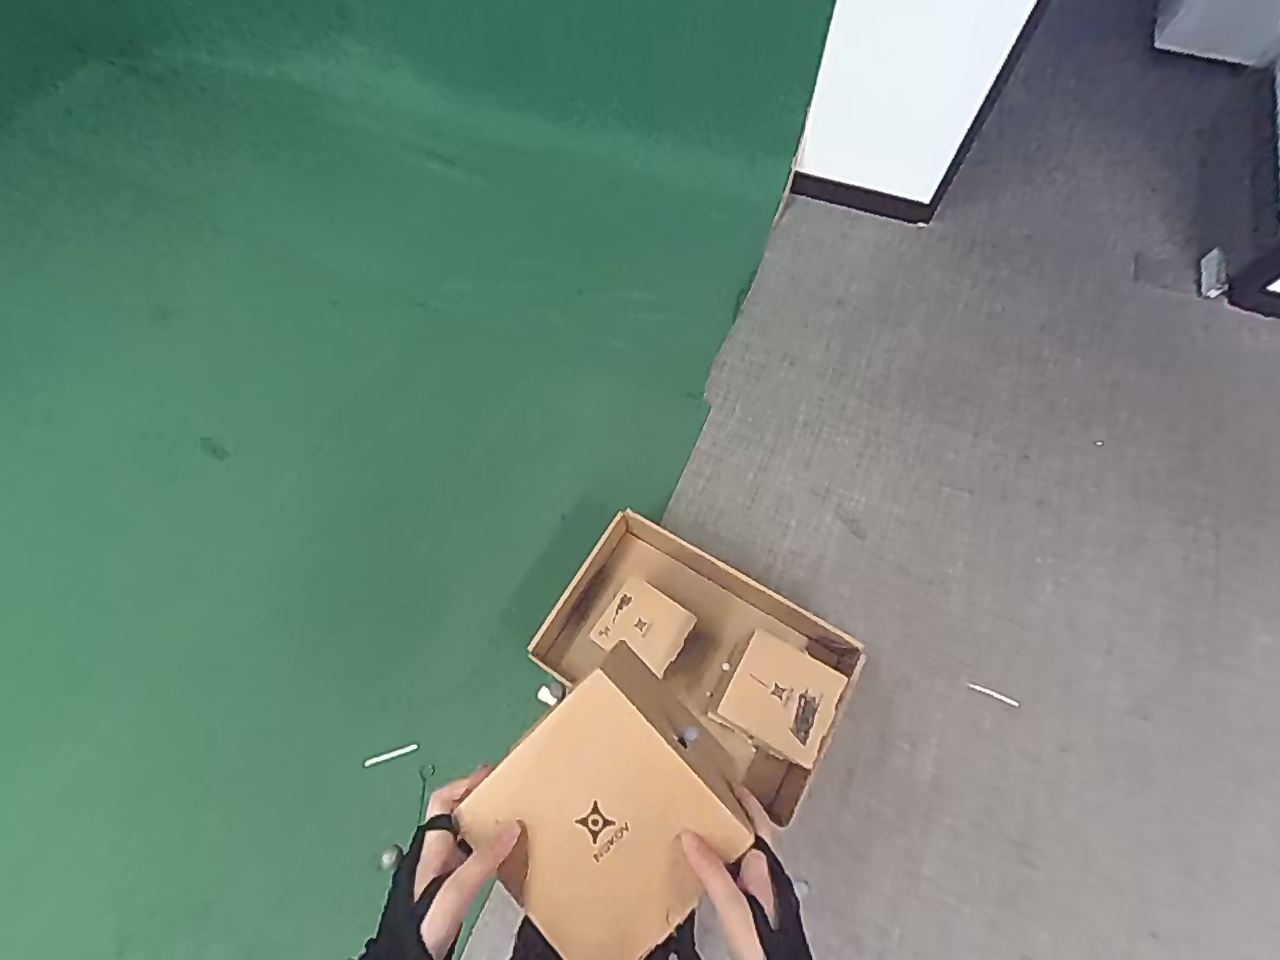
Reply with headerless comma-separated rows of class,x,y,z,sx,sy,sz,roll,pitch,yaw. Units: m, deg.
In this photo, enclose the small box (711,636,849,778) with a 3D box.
small box,0.246,0.409,0.990,0.179,0.176,0.168,27,70,14
